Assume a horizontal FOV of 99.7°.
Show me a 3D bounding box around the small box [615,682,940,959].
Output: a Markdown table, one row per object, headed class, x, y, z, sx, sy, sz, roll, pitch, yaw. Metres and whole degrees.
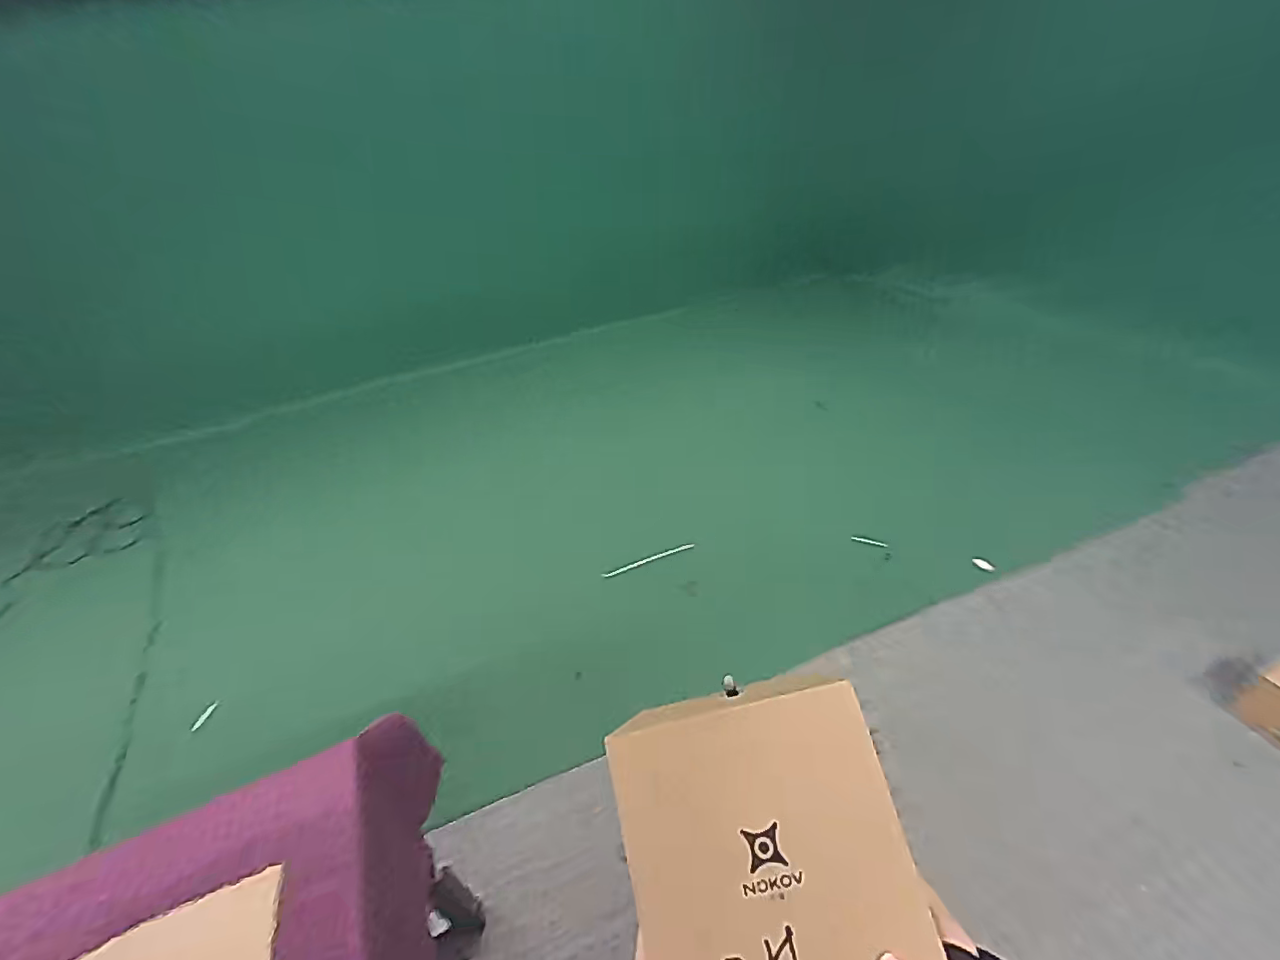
| class | x | y | z | sx | sy | sz | roll | pitch | yaw |
| --- | --- | --- | --- | --- | --- | --- | --- | --- | --- |
| small box | 0.089 | 0.255 | 0.402 | 0.168 | 0.176 | 0.179 | -15 | 71 | 6 |
